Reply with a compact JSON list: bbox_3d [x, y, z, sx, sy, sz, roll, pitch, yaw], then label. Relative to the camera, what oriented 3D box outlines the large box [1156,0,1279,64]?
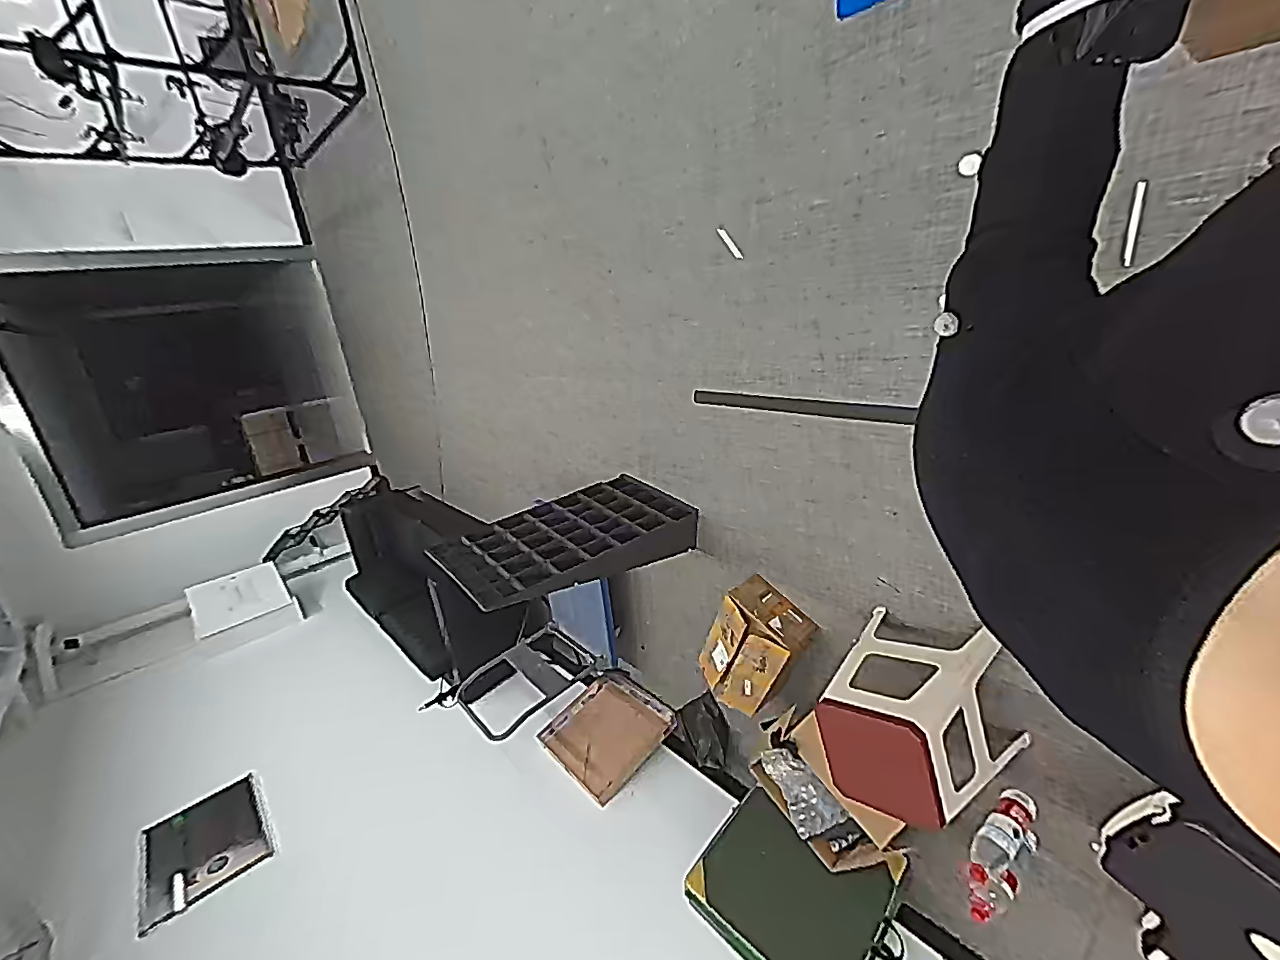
[{"bbox_3d":[0.533,-0.459,0.238,0.408,0.320,0.320,13,120,45],"label":"large box"}]

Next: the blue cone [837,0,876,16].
[{"bbox_3d":[0.414,-1.159,1.143,0.192,0.380,0.193,20,122,46],"label":"blue cone"}]
